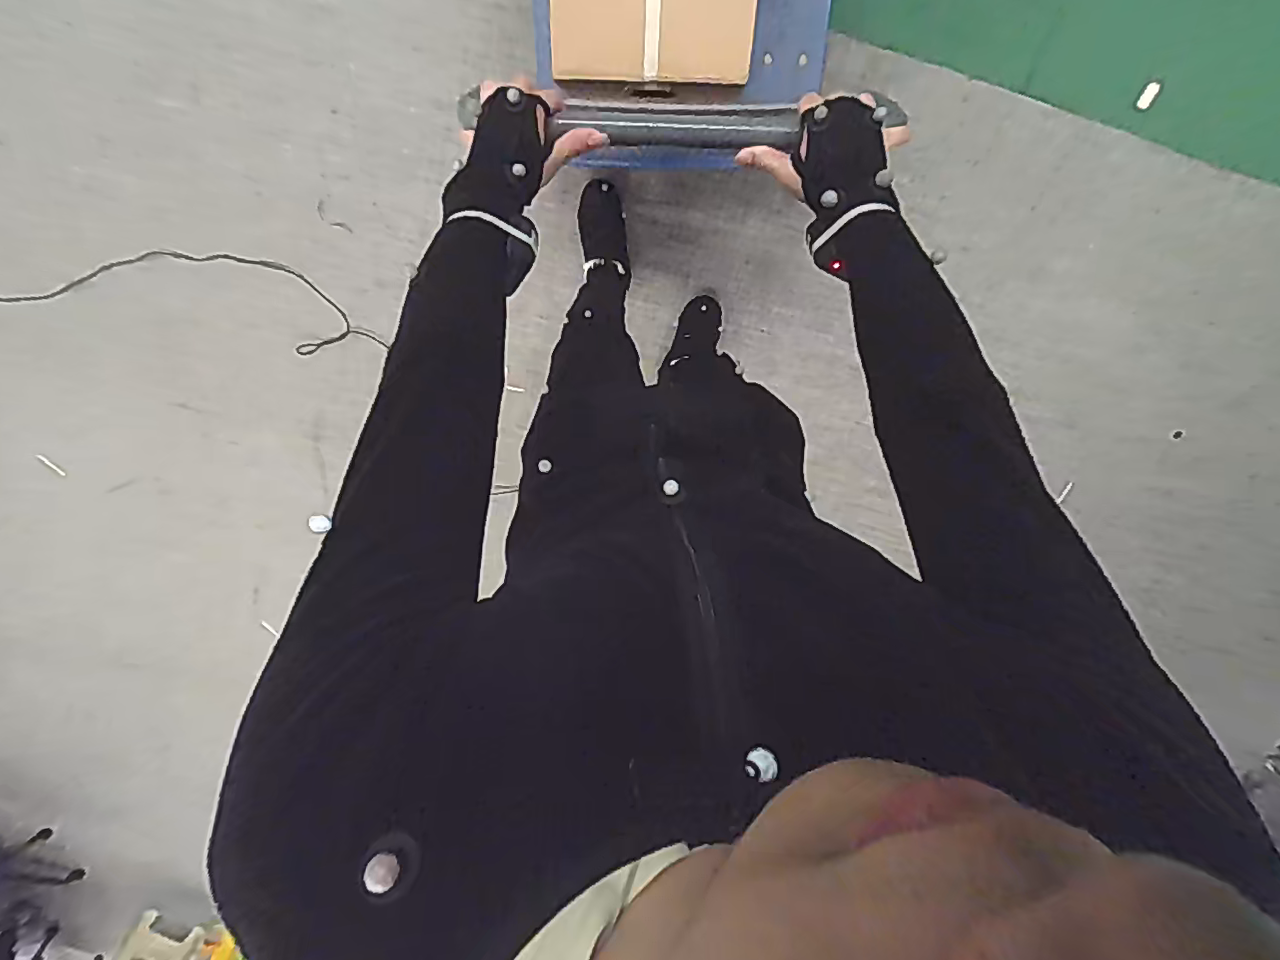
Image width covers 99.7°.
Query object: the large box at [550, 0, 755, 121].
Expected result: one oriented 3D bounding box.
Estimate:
[{"bbox_3d":[0.030,-0.868,0.914,0.320,0.320,0.408,3,115,2],"label":"large box"}]
